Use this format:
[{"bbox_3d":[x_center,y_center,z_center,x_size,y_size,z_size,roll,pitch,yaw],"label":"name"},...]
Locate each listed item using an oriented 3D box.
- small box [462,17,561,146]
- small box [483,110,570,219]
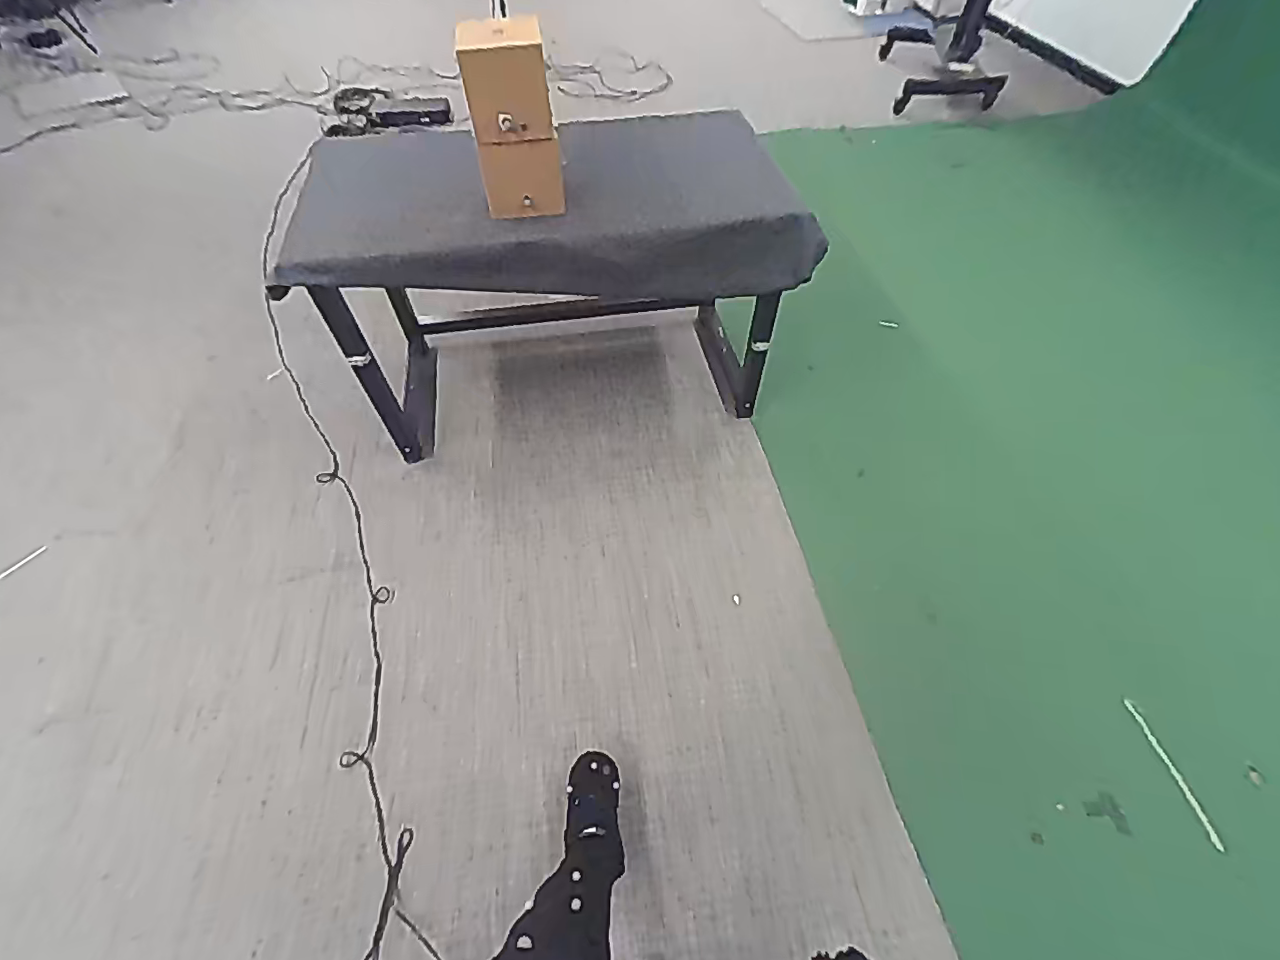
[{"bbox_3d":[-0.263,-0.827,1.125,0.168,0.176,0.179,-10,56,-4],"label":"small box"},{"bbox_3d":[-0.259,-0.732,1.257,0.179,0.176,0.168,-8,54,-5],"label":"small box"}]
